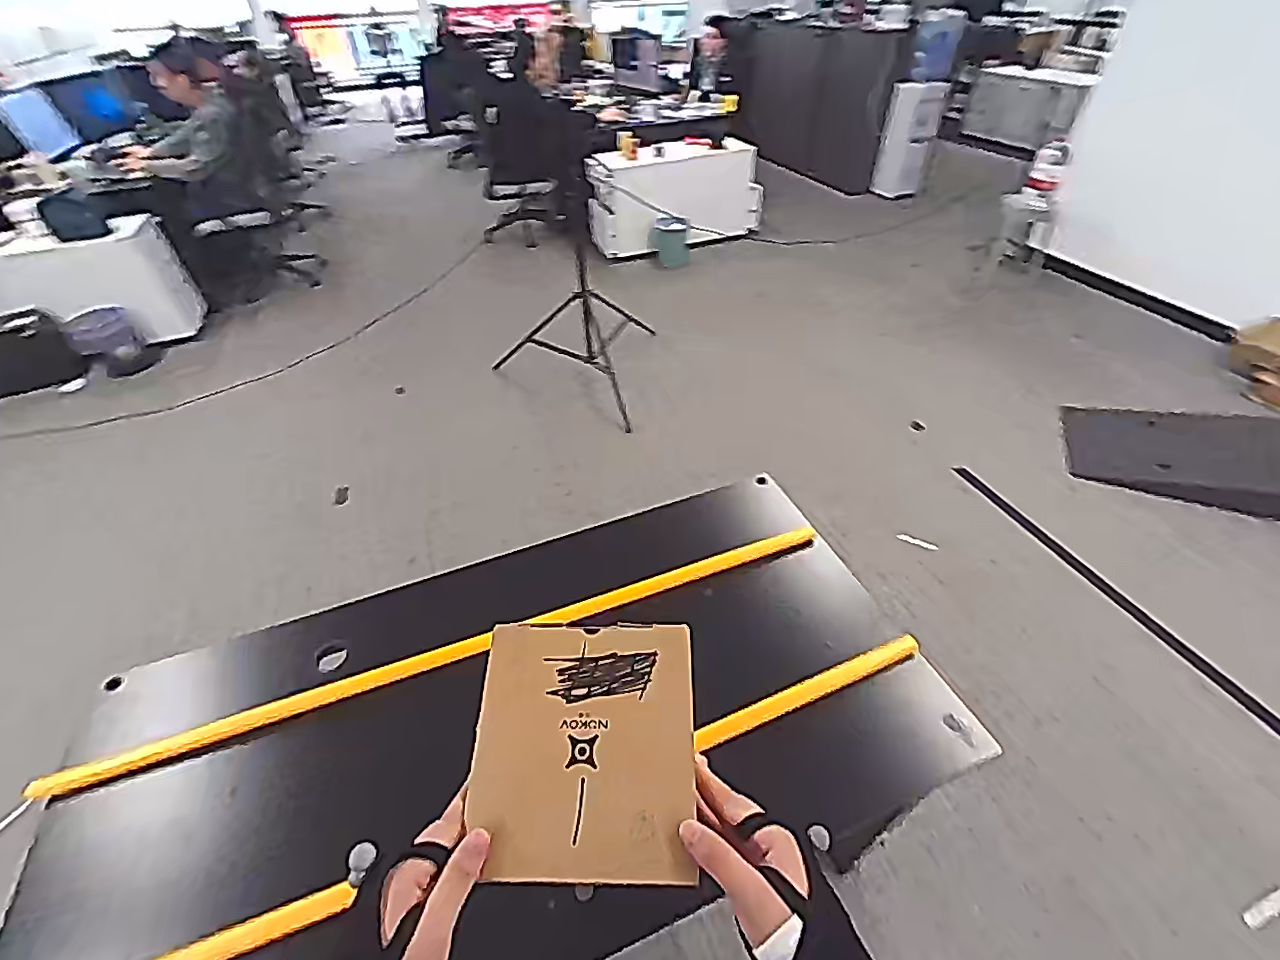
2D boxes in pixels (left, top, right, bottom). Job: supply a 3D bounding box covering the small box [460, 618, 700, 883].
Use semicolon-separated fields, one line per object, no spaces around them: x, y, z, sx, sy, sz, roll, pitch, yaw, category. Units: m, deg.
-0.036;0.236;0.474;0.168;0.176;0.179;1;57;3;small box
